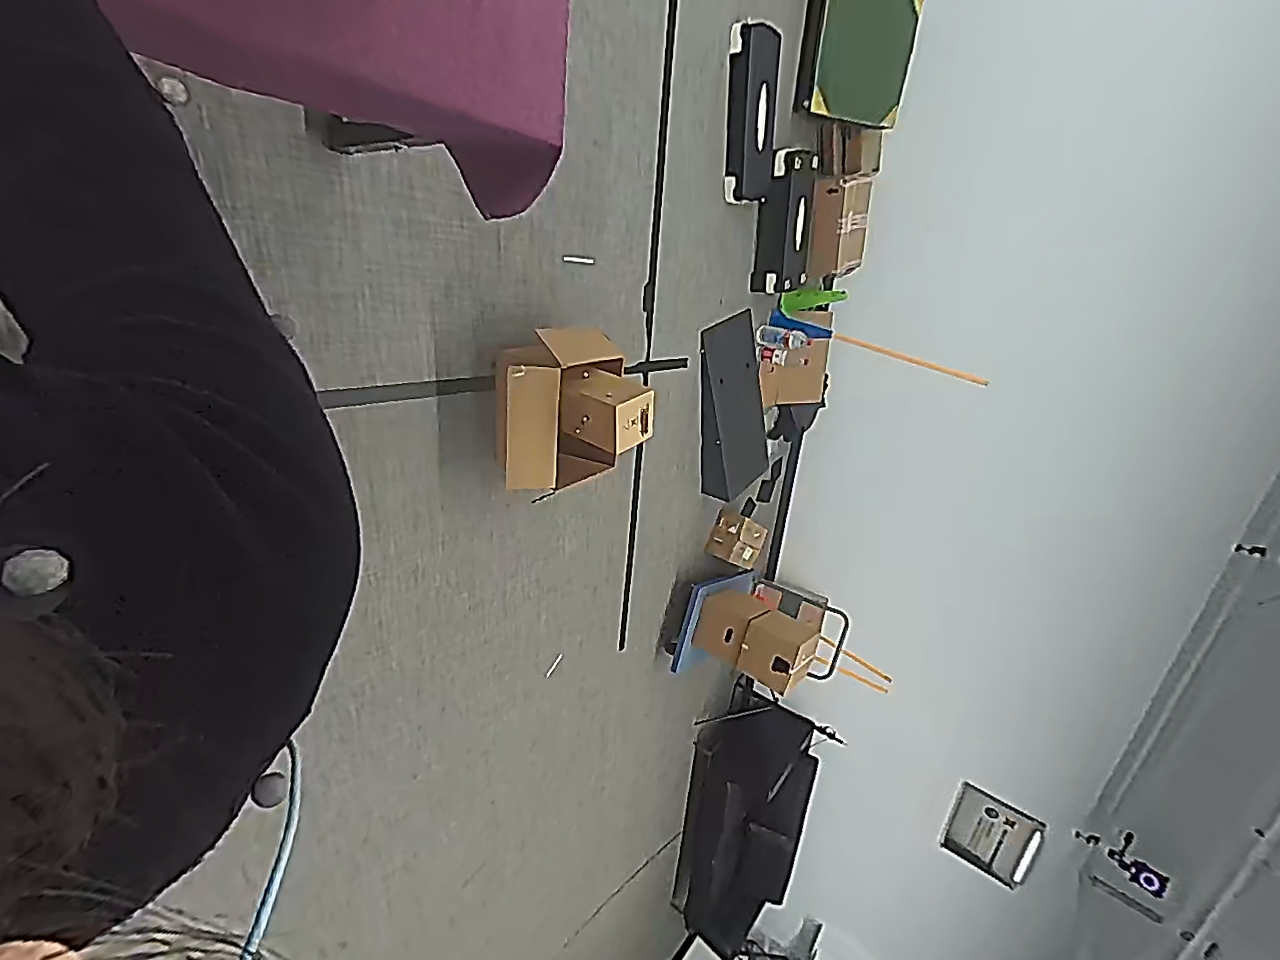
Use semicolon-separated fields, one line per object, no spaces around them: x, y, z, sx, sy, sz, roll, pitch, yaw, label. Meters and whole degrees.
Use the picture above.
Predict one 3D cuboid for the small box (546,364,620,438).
-0.192;-0.272;1.807;0.168;0.176;0.179;-40;140;-33;small box
